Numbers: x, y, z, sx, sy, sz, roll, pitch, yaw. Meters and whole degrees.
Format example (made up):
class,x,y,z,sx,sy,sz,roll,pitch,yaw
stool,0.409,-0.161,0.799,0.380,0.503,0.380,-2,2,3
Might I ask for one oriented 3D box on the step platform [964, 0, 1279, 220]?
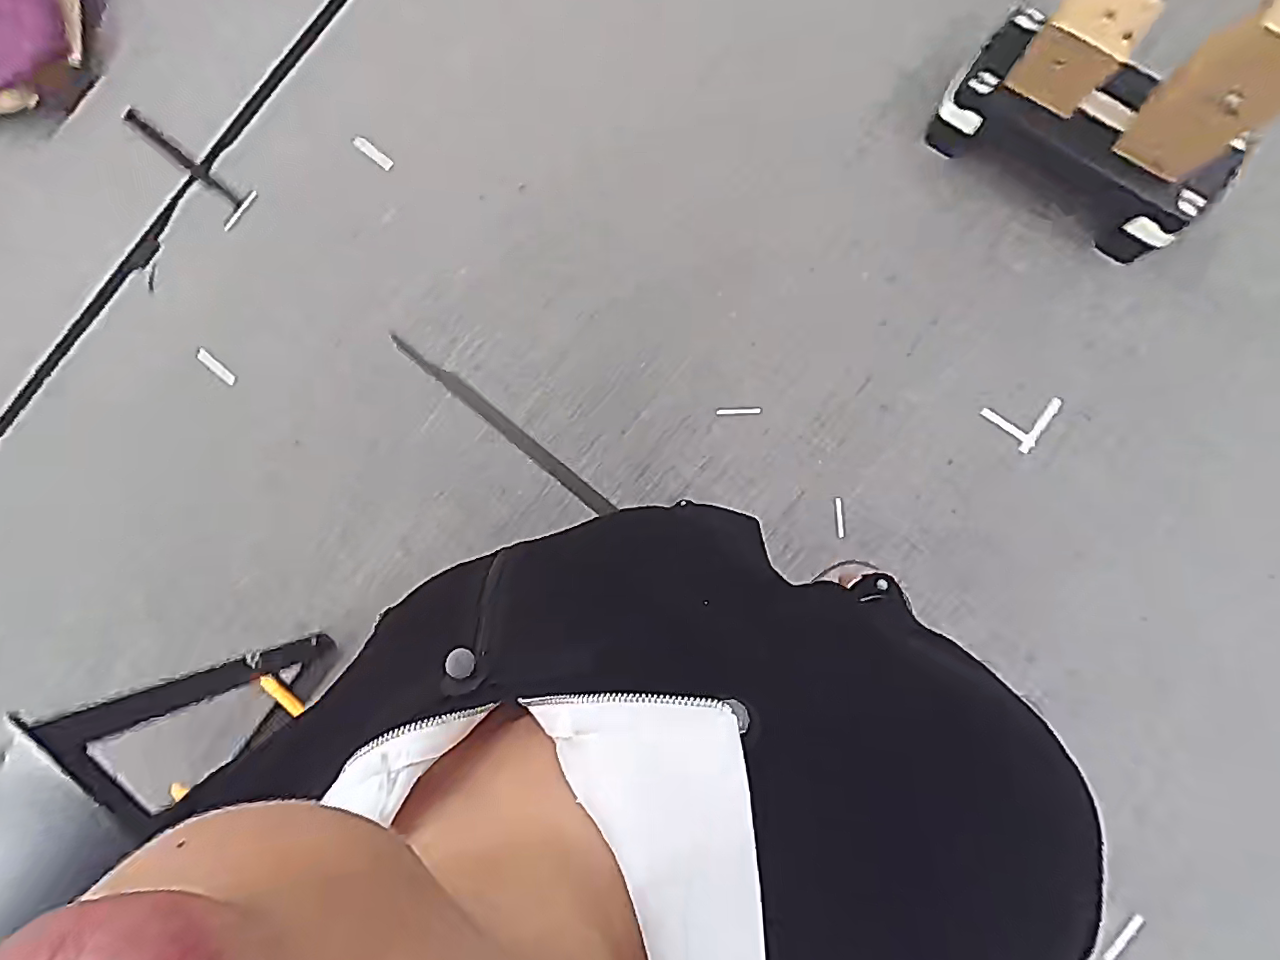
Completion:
class,x,y,z,sx,sy,sz,roll,pitch,yaw
step platform,1.099,-0.889,1.194,0.684,0.204,0.286,36,88,5

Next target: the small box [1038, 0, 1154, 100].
class,x,y,z,sx,sy,sz,roll,pitch,yaw
small box,0.995,-1.008,1.246,0.179,0.176,0.168,34,89,6

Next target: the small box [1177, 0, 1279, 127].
class,x,y,z,sx,sy,sz,roll,pitch,yaw
small box,1.226,-0.848,1.052,0.168,0.176,0.179,35,90,7

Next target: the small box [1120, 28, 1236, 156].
class,x,y,z,sx,sy,sz,roll,pitch,yaw
small box,1.229,-0.838,1.216,0.168,0.176,0.179,35,89,7
